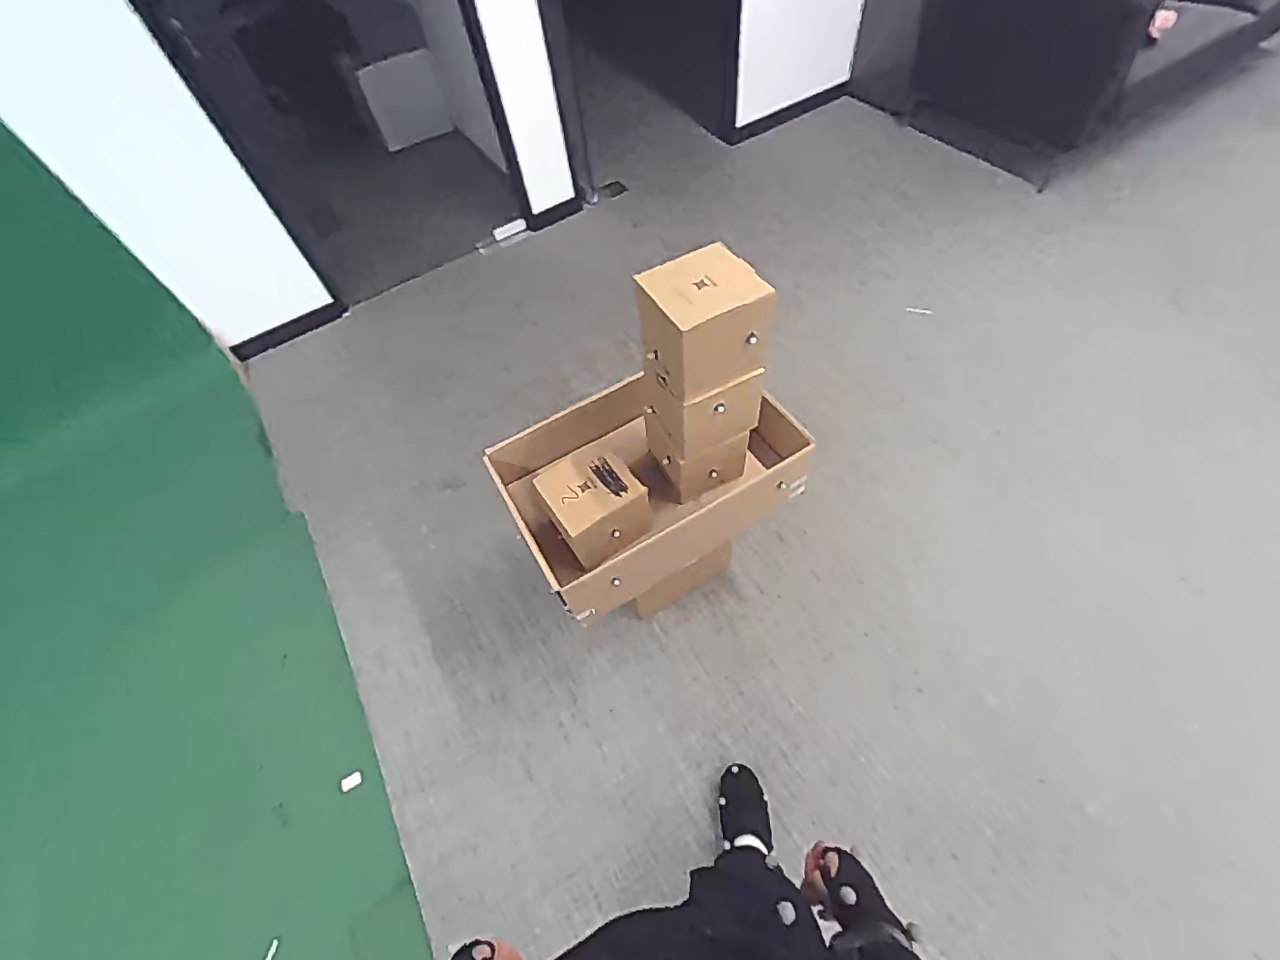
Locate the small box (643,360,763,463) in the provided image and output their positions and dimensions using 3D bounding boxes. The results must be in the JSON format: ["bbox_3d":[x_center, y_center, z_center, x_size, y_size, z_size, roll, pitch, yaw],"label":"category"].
[{"bbox_3d":[0.124,-0.163,1.080,0.179,0.176,0.168,-25,57,-11],"label":"small box"}]

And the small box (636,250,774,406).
[{"bbox_3d":[0.109,-0.264,0.953,0.179,0.176,0.168,-26,56,-11],"label":"small box"}]

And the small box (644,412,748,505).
[{"bbox_3d":[0.126,-0.066,1.213,0.168,0.176,0.179,-24,56,-10],"label":"small box"}]
